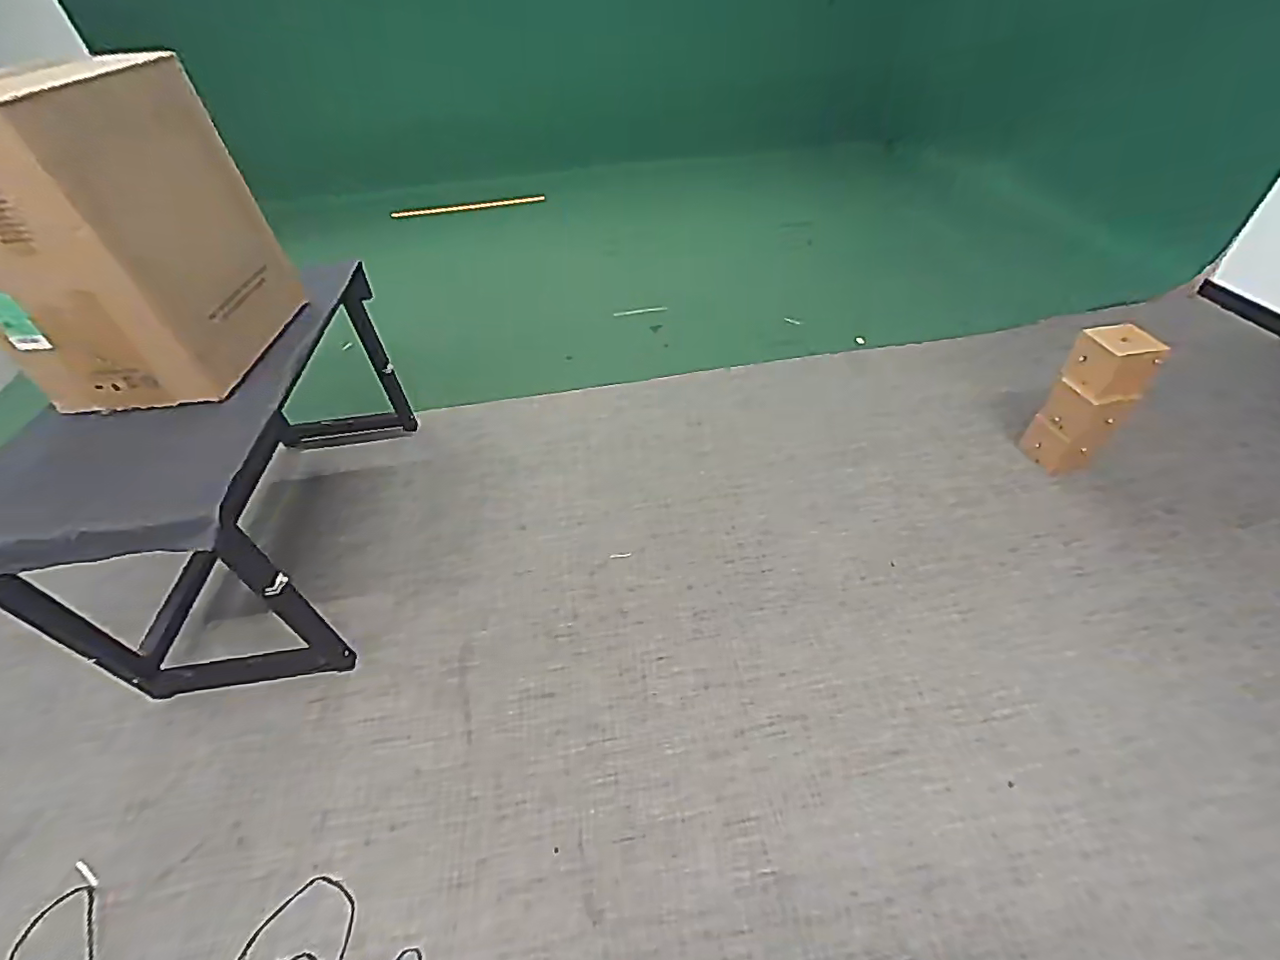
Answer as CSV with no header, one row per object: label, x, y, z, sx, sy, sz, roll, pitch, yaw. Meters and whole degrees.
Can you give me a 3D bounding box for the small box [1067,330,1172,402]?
small box,1.565,-0.372,1.787,0.179,0.176,0.168,-8,45,-3
